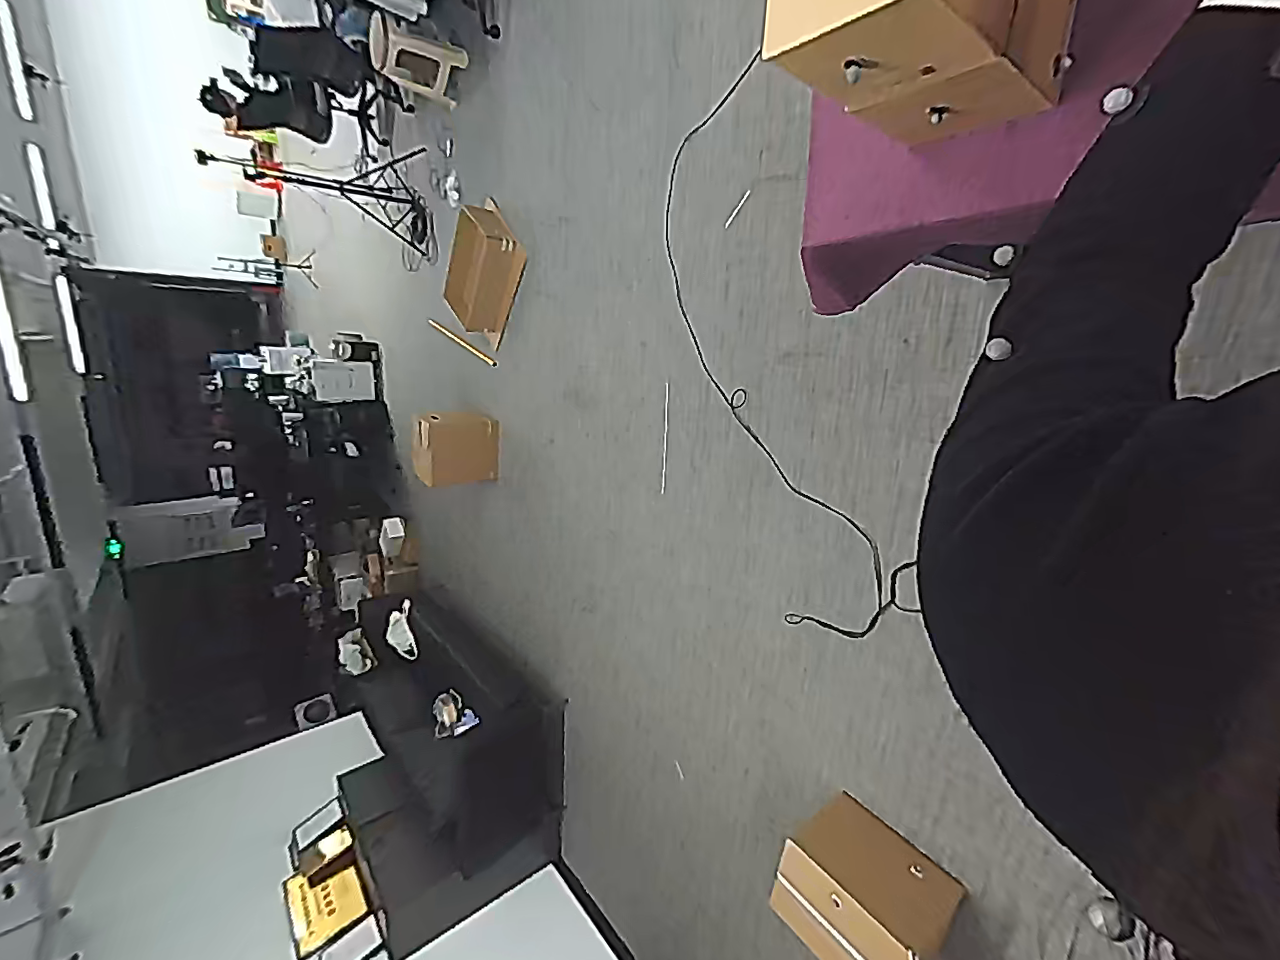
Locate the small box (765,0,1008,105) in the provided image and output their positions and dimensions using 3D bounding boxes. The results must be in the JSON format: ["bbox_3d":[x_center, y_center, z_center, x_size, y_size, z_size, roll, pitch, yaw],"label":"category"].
[{"bbox_3d":[0.246,-0.498,0.525,0.168,0.176,0.179,19,110,48],"label":"small box"}]

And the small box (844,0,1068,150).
[{"bbox_3d":[0.370,-0.514,0.630,0.179,0.176,0.168,17,109,49],"label":"small box"}]
